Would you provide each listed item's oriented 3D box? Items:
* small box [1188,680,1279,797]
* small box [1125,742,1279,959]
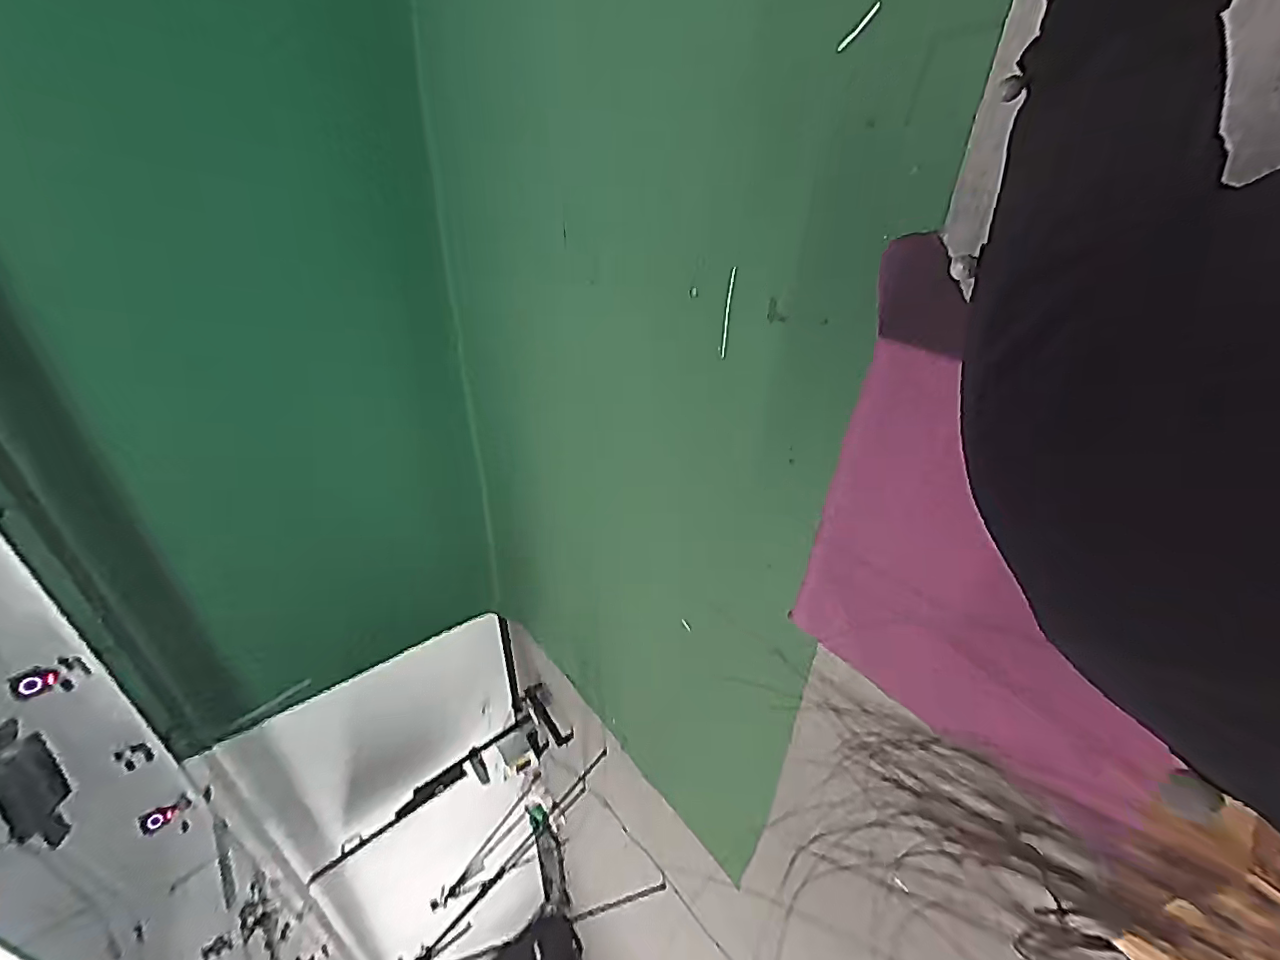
[{"bbox_3d":[0.666,0.295,0.494,0.168,0.176,0.179,38,136,35],"label":"small box"},{"bbox_3d":[0.538,0.347,0.410,0.179,0.176,0.168,37,137,37],"label":"small box"}]
